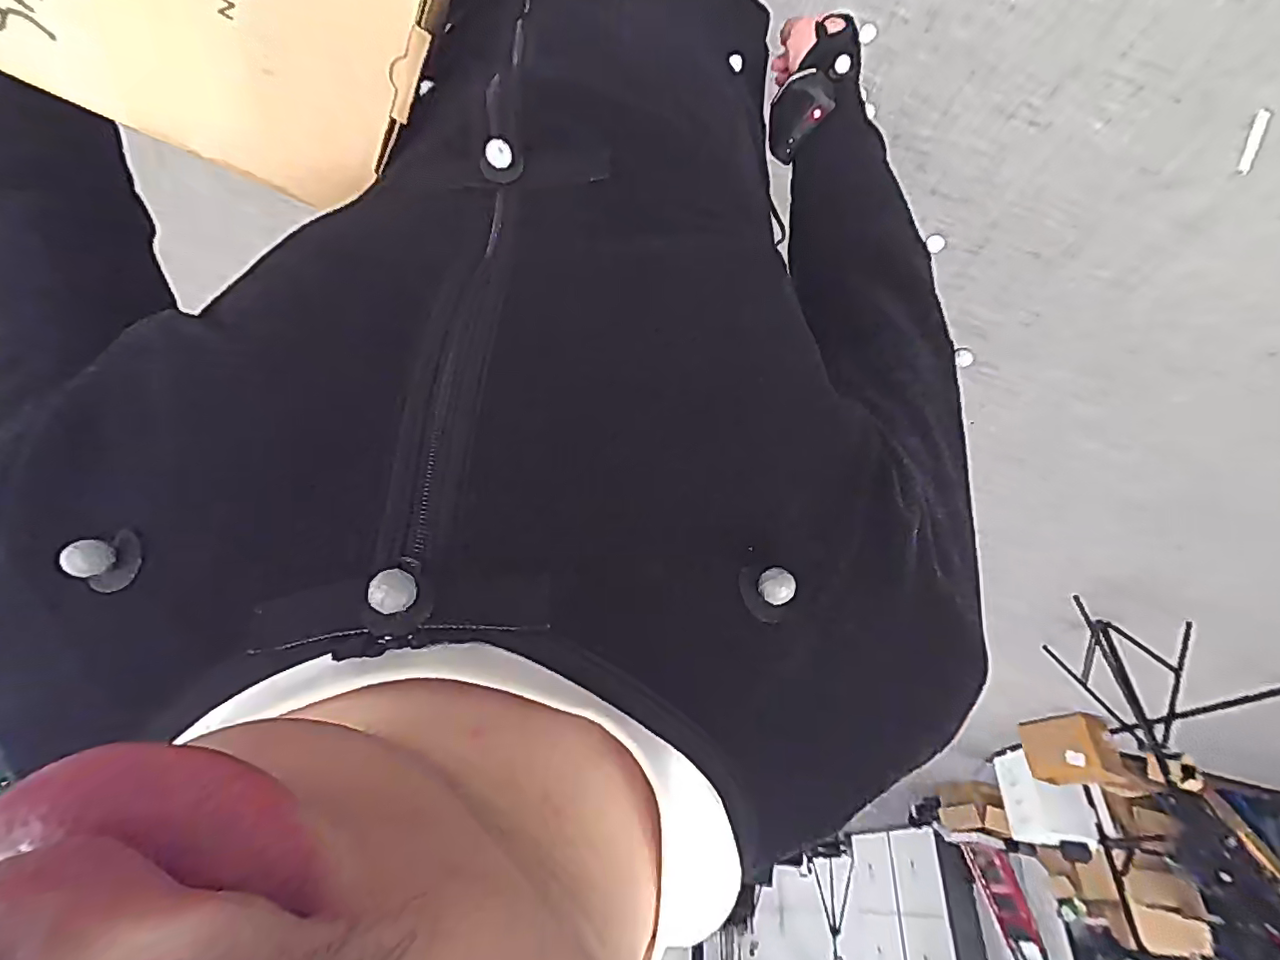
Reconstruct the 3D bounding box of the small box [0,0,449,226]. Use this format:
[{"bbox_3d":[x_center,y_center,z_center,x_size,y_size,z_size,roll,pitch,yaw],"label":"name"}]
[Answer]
[{"bbox_3d":[-0.218,-0.280,0.316,0.179,0.176,0.168,17,114,-28],"label":"small box"}]
